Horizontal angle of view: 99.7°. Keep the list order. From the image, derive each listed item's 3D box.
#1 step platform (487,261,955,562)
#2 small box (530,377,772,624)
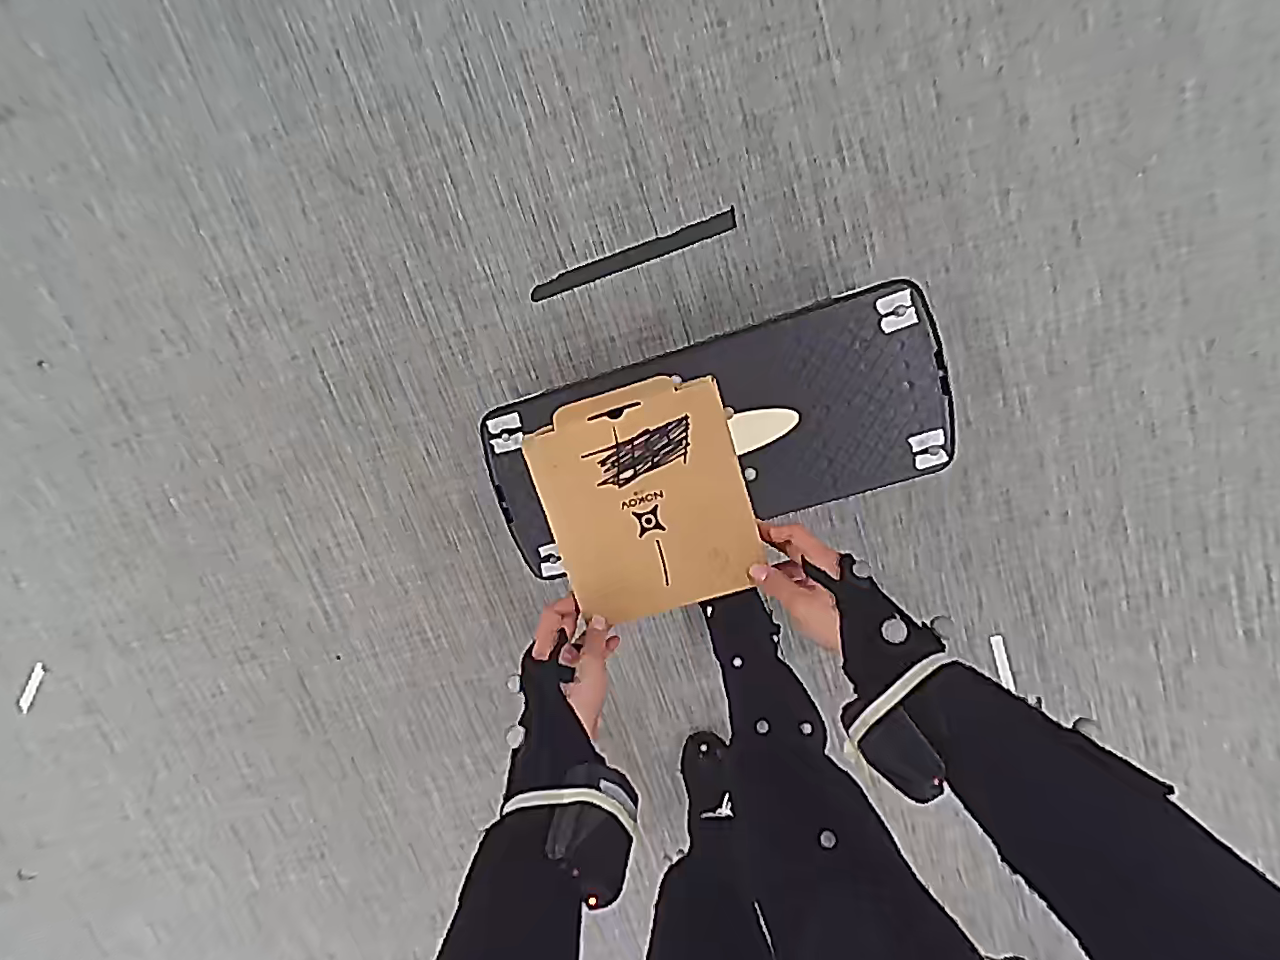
[{"bbox_3d":[0.115,-0.099,0.857,0.684,0.204,0.286,-17,99,7],"label":"step platform"},{"bbox_3d":[0.015,0.010,0.526,0.168,0.176,0.179,-17,98,8],"label":"small box"}]
